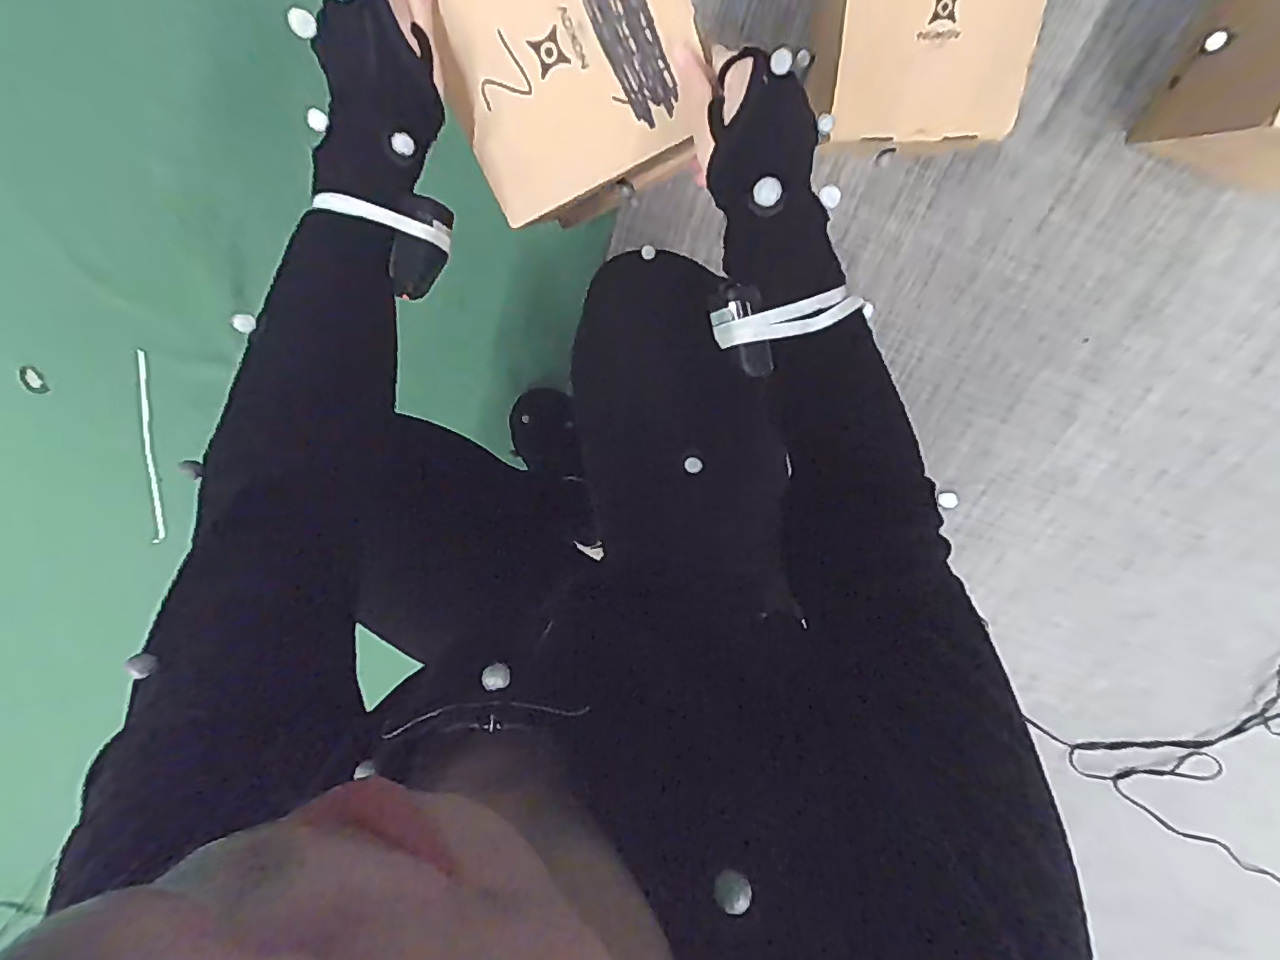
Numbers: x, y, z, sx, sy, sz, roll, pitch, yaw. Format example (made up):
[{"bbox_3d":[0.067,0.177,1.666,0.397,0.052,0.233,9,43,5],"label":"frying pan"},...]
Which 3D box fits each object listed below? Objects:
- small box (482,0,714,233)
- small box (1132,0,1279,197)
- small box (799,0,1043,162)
[{"bbox_3d":[-0.032,-0.386,0.581,0.179,0.176,0.168,-22,114,14],"label":"small box"},{"bbox_3d":[0.658,-0.384,0.520,0.179,0.176,0.168,16,116,-4],"label":"small box"},{"bbox_3d":[0.262,-0.421,0.538,0.168,0.176,0.179,3,118,4],"label":"small box"}]
